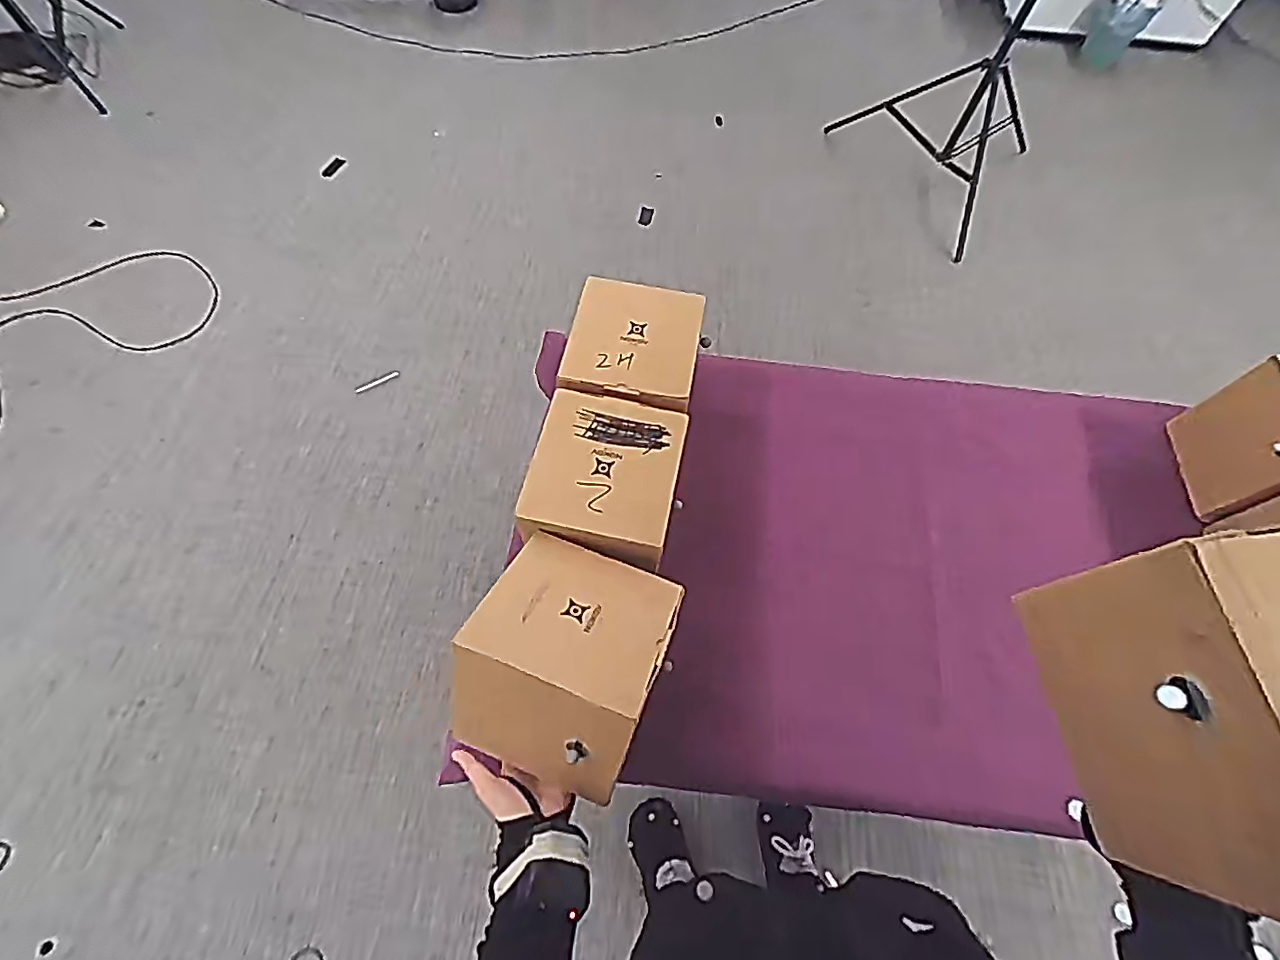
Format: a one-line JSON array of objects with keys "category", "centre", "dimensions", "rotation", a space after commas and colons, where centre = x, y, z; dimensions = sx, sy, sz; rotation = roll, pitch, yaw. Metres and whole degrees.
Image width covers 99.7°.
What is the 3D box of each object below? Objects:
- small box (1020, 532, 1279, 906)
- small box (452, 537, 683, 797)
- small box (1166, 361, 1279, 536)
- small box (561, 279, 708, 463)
[{"category": "small box", "centre": [0.373, 0.134, 0.319], "dimensions": [0.168, 0.176, 0.179], "rotation": [-7, 68, 2]}, {"category": "small box", "centre": [-0.074, 0.195, 0.565], "dimensions": [0.179, 0.176, 0.168], "rotation": [19, 36, 8]}, {"category": "small box", "centre": [0.903, -0.033, 0.756], "dimensions": [0.168, 0.176, 0.179], "rotation": [11, 62, 2]}, {"category": "small box", "centre": [-0.007, -0.149, 0.768], "dimensions": [0.168, 0.176, 0.179], "rotation": [10, 63, 3]}]
